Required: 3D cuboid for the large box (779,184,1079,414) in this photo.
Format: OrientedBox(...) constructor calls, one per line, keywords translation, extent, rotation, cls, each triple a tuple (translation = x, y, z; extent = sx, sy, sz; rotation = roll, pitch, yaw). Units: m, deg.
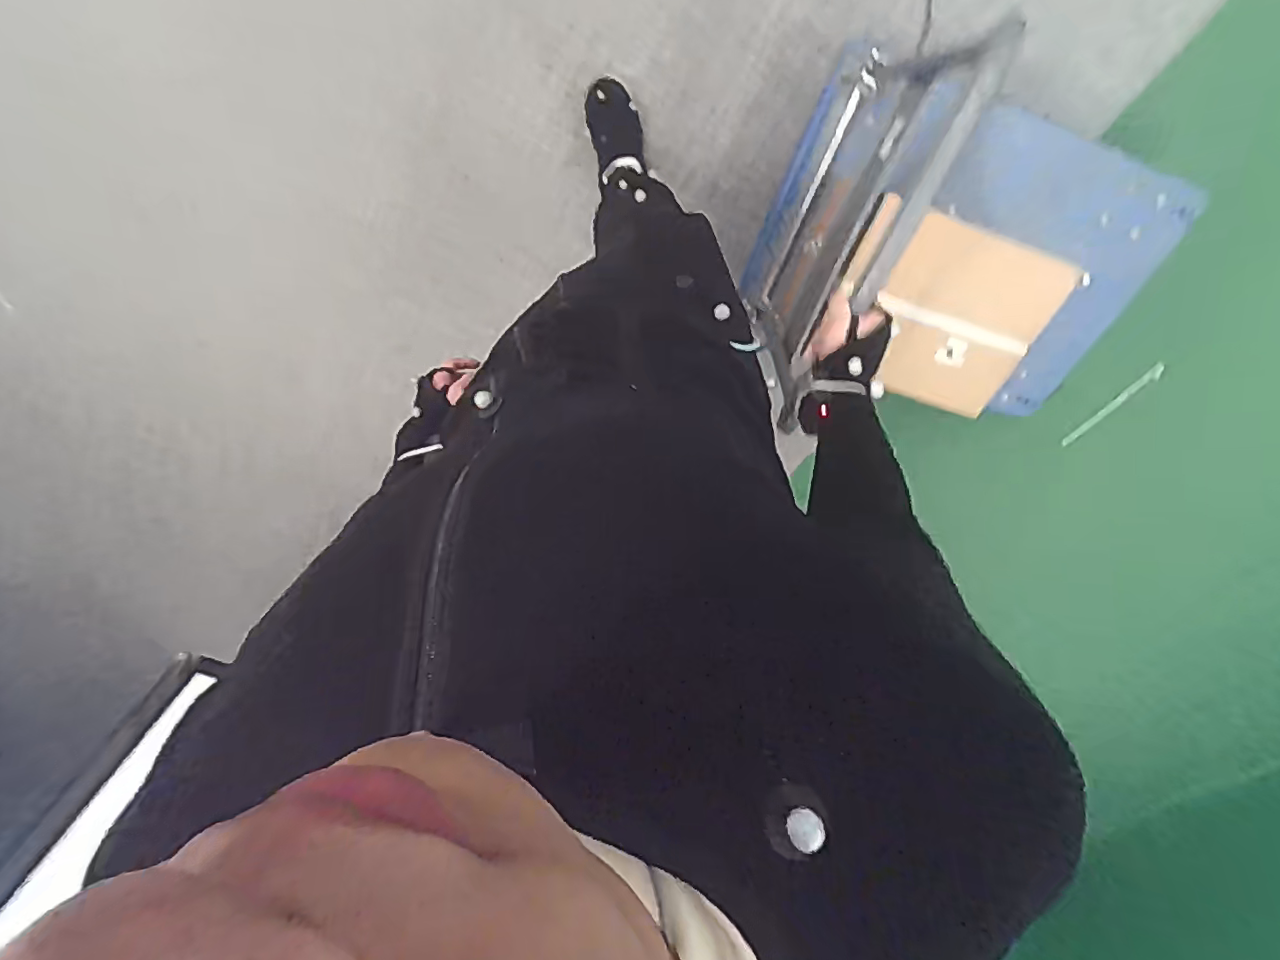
OrientedBox(translation=(0.564, -0.391, 1.151), extent=(0.408, 0.320, 0.320), rotation=(16, 124, -9), cls="large box")
